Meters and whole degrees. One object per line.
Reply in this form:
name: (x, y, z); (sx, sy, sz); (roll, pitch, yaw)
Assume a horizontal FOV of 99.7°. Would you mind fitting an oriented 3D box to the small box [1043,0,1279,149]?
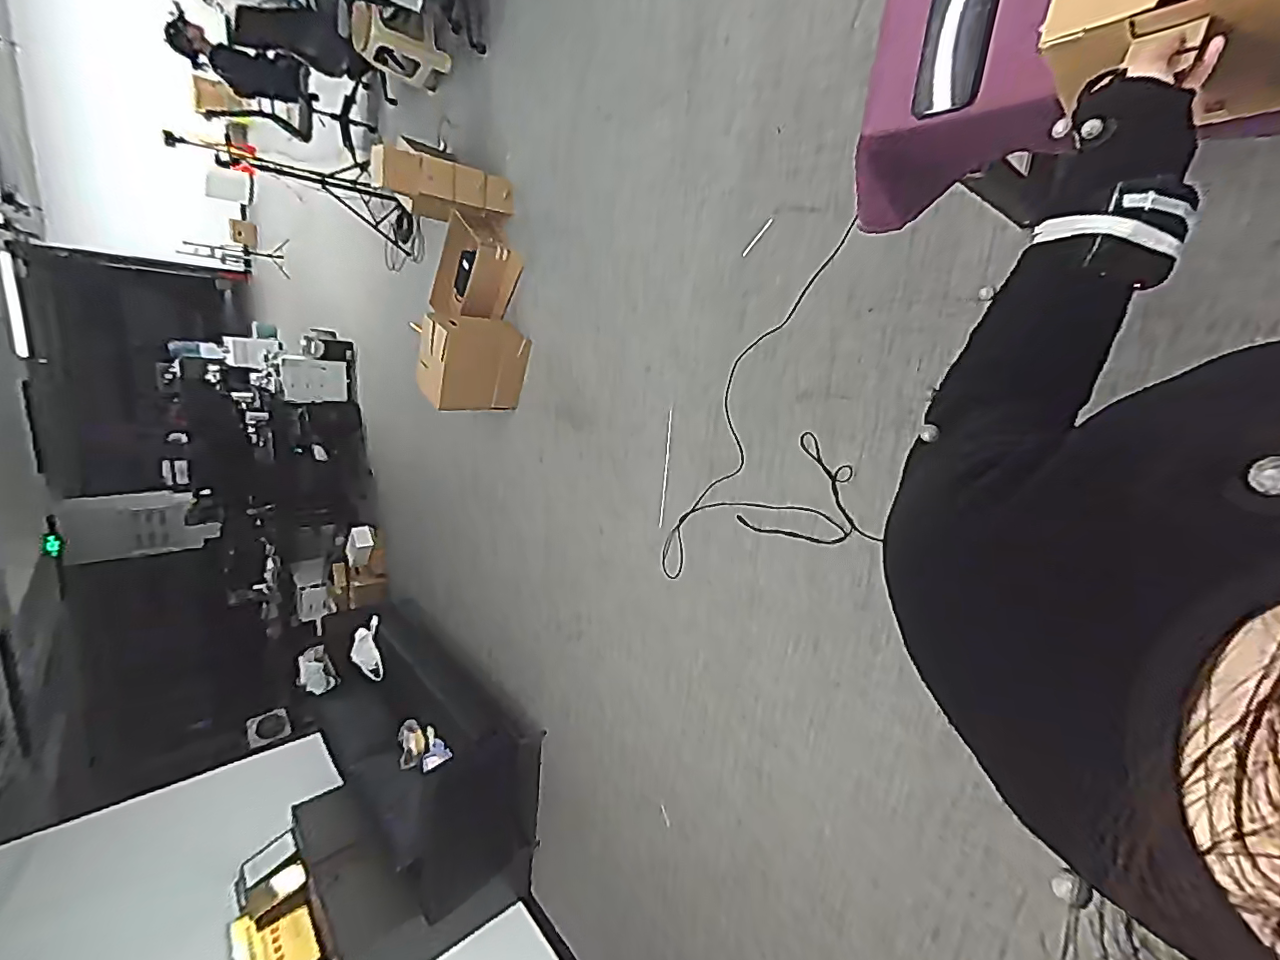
small box: (0.479, -0.426, 0.458); (0.168, 0.176, 0.179); (19, 97, 47)
